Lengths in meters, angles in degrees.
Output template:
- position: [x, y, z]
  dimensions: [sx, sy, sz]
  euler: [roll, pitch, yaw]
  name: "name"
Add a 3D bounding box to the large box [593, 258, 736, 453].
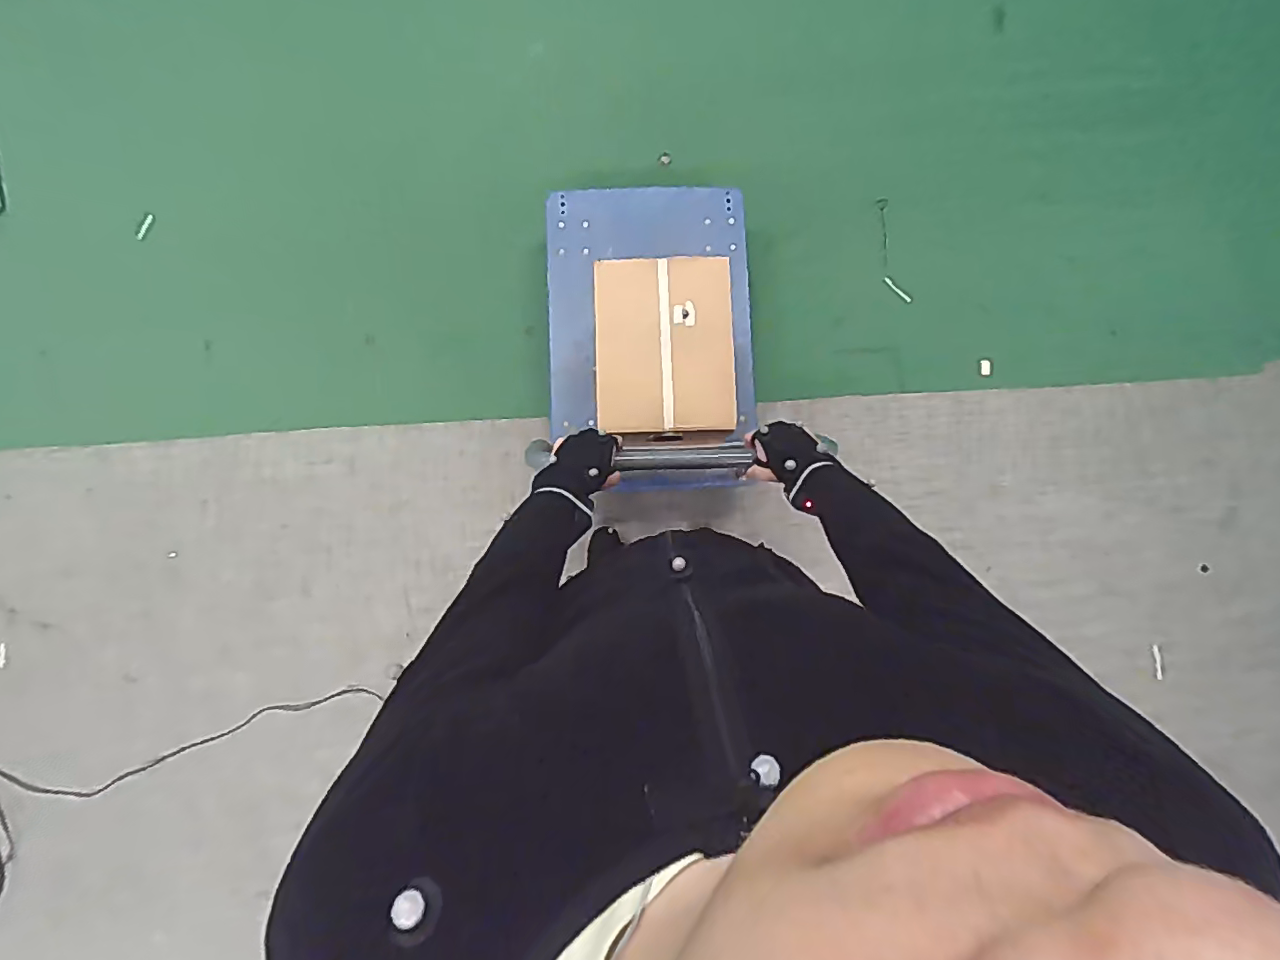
- position: [0.054, -0.294, 1.373]
  dimensions: [0.320, 0.320, 0.408]
  euler: [-2, 84, -1]
  name: "large box"
